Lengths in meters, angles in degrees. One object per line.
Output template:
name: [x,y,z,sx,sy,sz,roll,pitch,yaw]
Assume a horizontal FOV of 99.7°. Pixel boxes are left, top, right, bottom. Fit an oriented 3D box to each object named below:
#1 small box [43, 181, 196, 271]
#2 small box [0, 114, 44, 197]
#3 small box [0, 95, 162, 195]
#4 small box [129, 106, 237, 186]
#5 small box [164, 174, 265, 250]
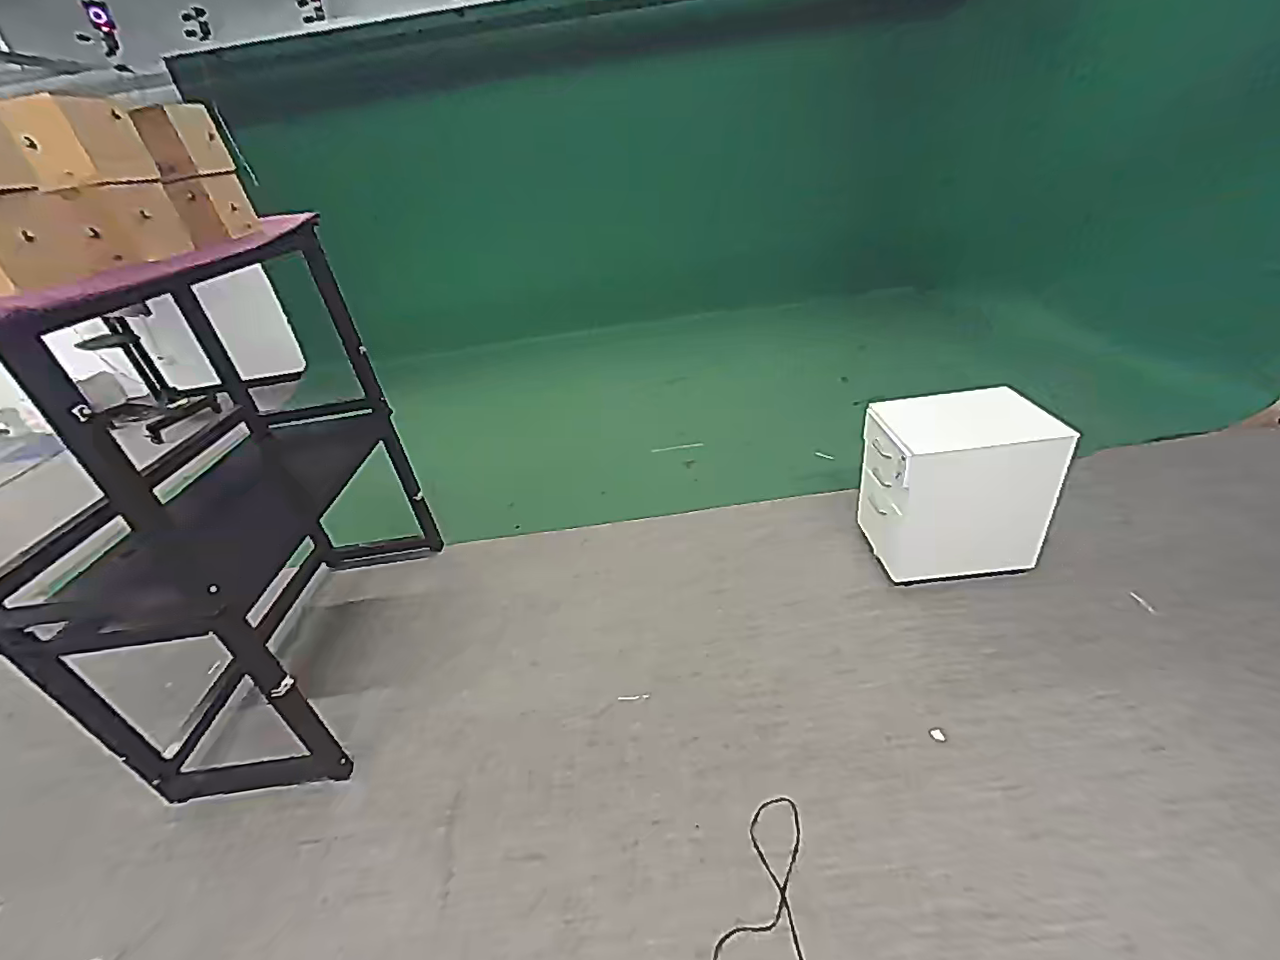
small box: [-1.240,-0.612,1.308,0.168,0.176,0.179,-7,32,2]
small box: [-1.219,-0.578,0.931,0.168,0.176,0.179,-9,31,-2]
small box: [-1.257,-0.752,1.226,0.168,0.176,0.179,-6,31,5]
small box: [-1.277,-0.926,1.506,0.168,0.176,0.179,-10,34,4]
small box: [-1.266,-0.791,1.597,0.179,0.176,0.168,-8,33,4]
